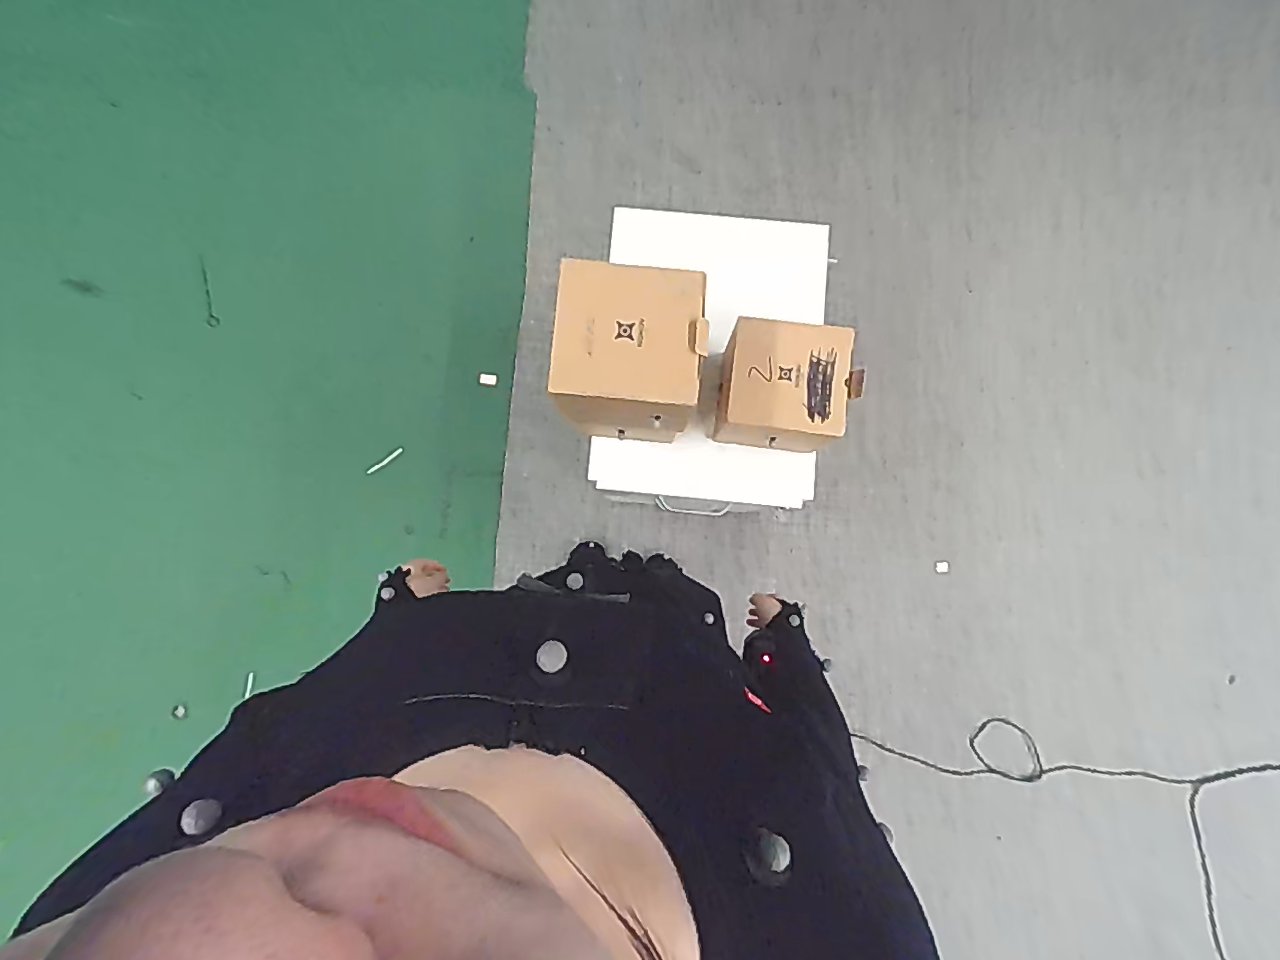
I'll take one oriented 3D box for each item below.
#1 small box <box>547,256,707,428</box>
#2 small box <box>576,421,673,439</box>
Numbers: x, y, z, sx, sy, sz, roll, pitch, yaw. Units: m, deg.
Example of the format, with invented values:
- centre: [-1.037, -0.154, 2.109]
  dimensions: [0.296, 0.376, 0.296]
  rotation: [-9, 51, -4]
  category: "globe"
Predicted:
- centre: [-0.016, -0.167, 0.708]
  dimensions: [0.179, 0.176, 0.168]
  rotation: [5, 84, 0]
  category: "small box"
- centre: [-0.018, -0.167, 0.871]
  dimensions: [0.168, 0.176, 0.179]
  rotation: [6, 85, -2]
  category: "small box"
